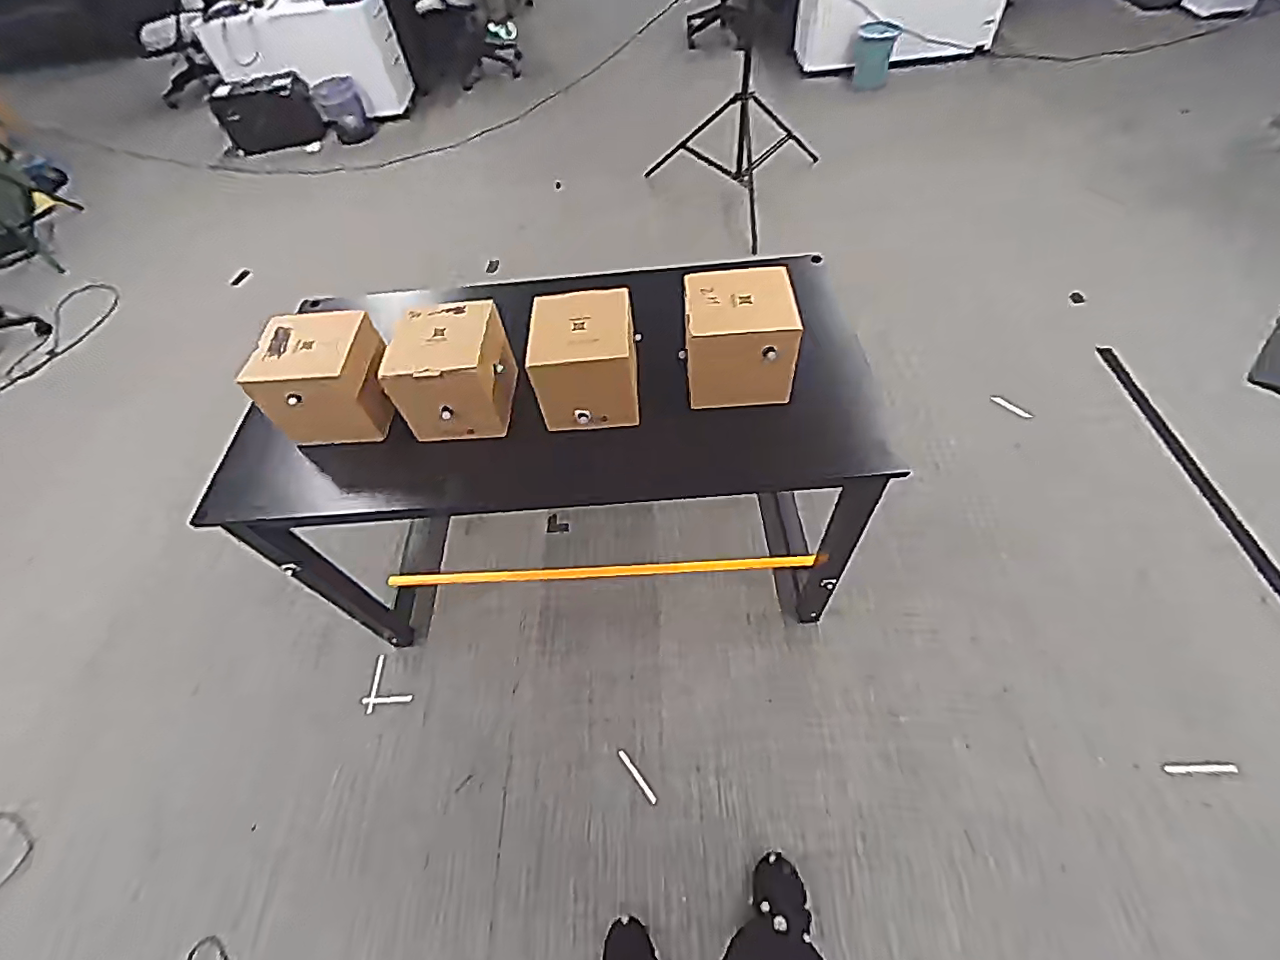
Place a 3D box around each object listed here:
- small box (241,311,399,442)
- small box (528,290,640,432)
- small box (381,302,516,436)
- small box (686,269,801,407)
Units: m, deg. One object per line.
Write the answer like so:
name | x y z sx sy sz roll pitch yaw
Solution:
small box | -0.560 -0.183 0.984 0.179 0.176 0.168 -3 56 3
small box | -0.090 -0.207 0.958 0.168 0.176 0.179 -5 56 4
small box | -0.328 -0.191 0.968 0.168 0.176 0.179 -3 56 2
small box | 0.172 -0.246 0.954 0.179 0.176 0.168 -3 55 4
